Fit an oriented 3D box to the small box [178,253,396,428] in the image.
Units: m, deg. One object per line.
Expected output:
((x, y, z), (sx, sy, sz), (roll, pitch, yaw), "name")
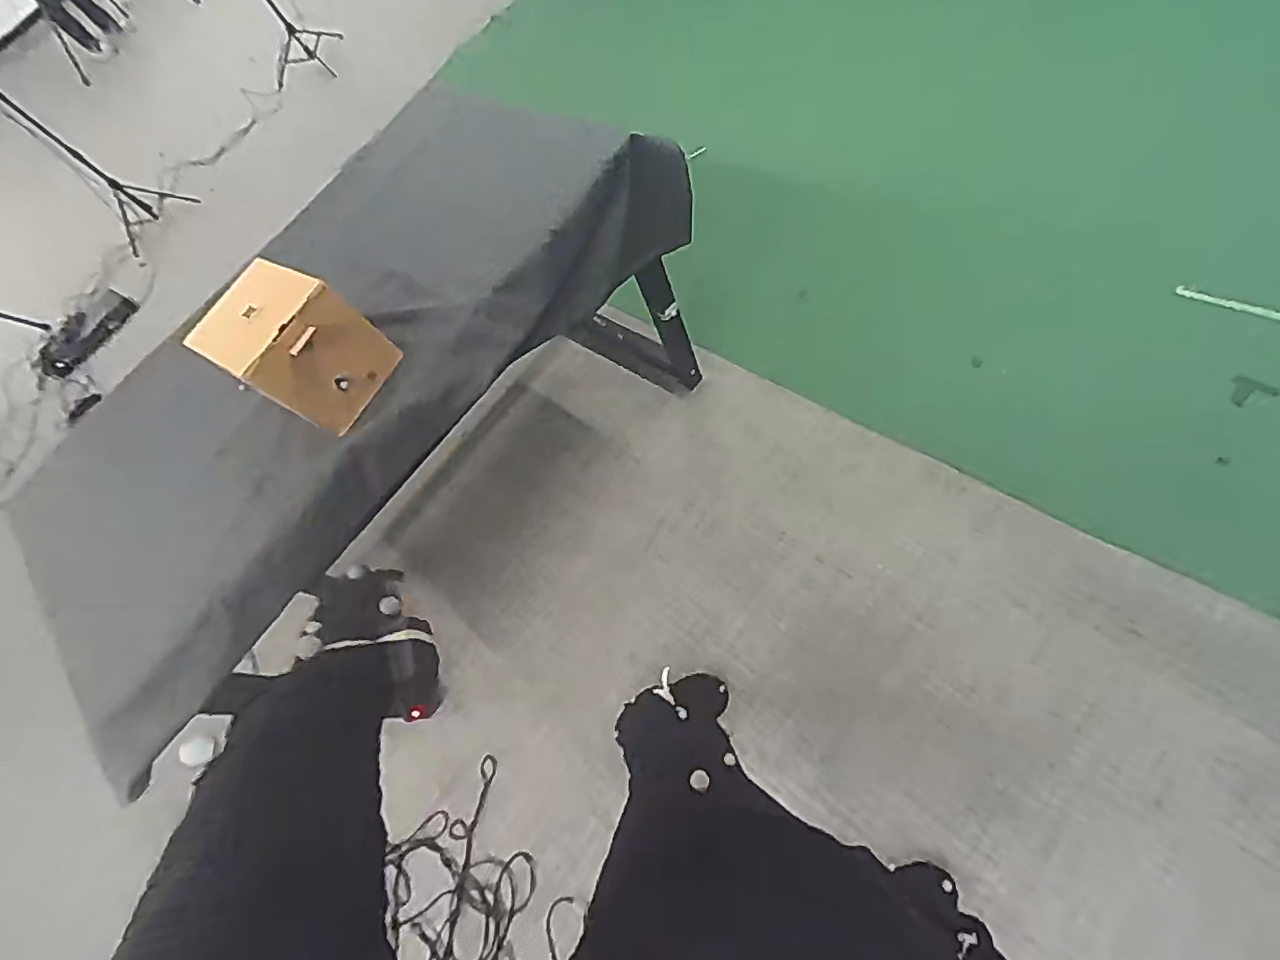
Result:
((-0.513, -0.201, 0.804), (0.179, 0.176, 0.168), (24, 76, 26), "small box")
